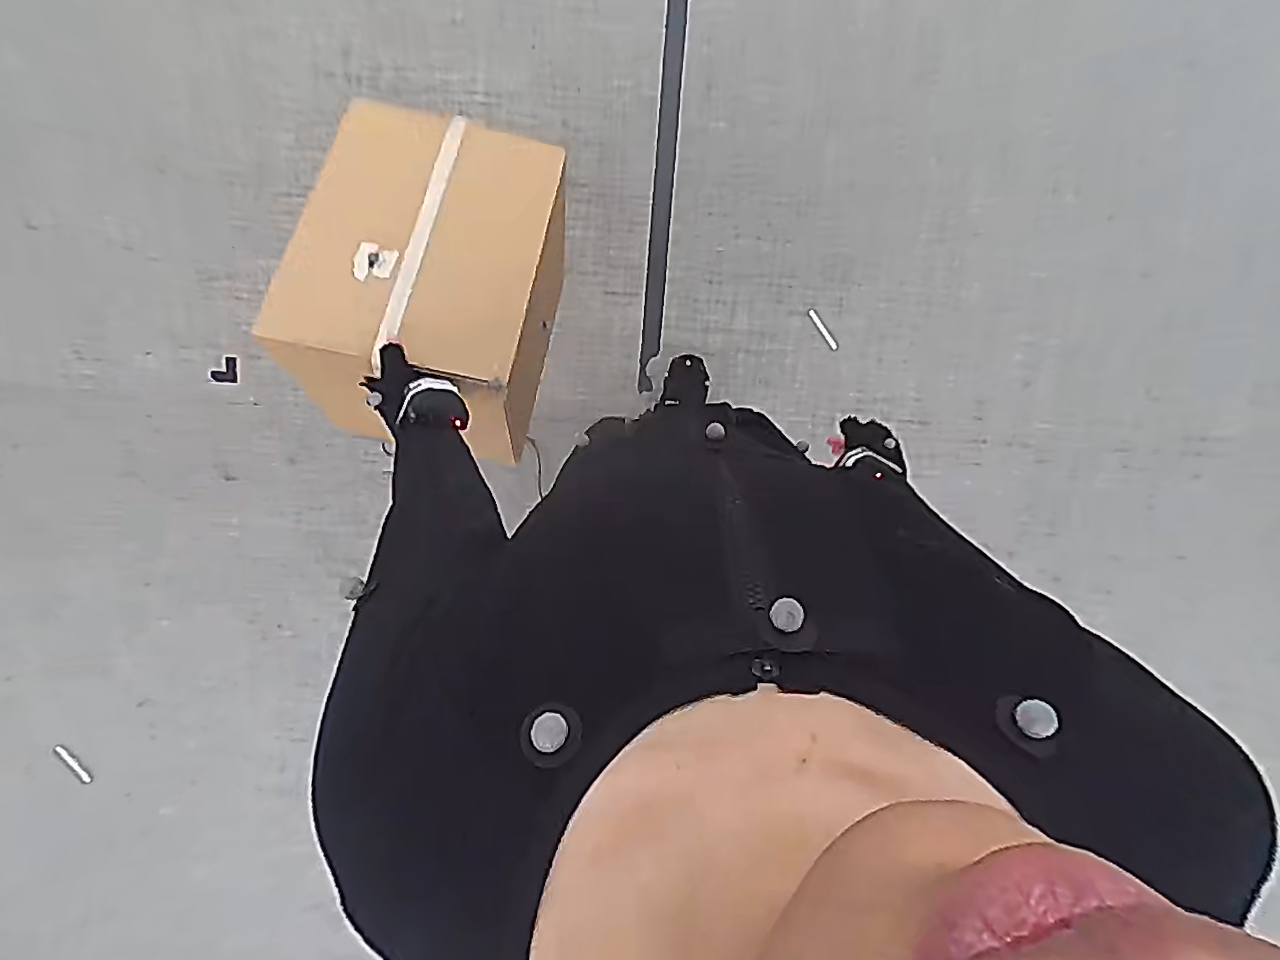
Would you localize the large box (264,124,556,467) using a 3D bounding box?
[{"bbox_3d":[-0.325,-0.278,0.897,0.320,0.320,0.408,10,70,-5],"label":"large box"}]
